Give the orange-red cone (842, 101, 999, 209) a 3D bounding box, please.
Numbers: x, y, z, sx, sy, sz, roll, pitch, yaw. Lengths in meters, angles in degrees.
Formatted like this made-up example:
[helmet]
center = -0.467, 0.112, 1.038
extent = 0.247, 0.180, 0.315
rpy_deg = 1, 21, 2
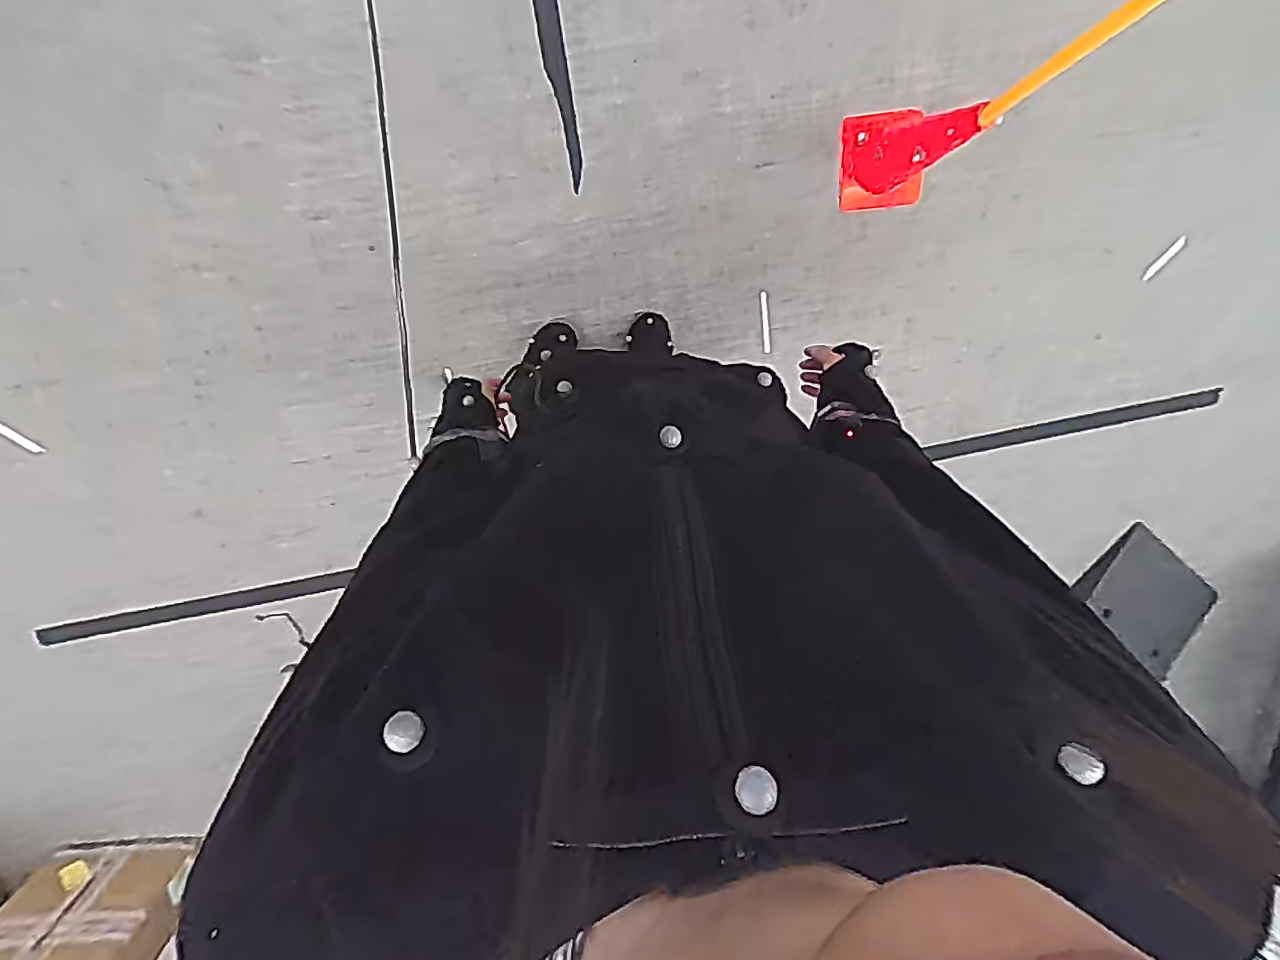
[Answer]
[orange-red cone]
center = 0.584, -0.688, 1.096
extent = 0.198, 0.360, 0.199
rpy_deg = -7, 110, -4
